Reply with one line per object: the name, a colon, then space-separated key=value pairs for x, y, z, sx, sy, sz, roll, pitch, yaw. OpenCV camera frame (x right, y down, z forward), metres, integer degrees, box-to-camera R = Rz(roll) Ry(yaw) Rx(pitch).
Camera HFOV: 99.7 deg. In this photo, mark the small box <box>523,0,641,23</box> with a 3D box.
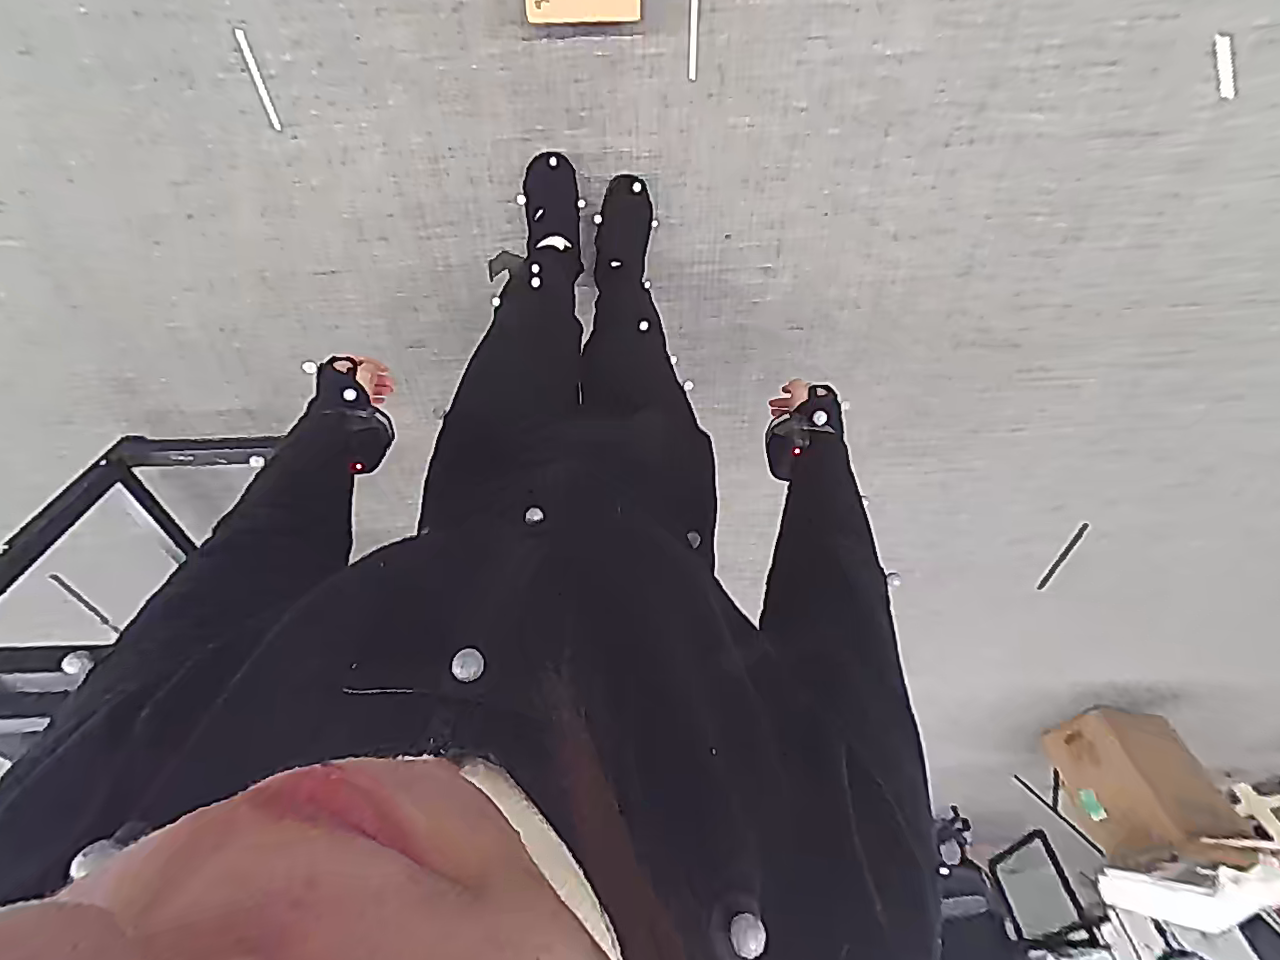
small box: x=-0.091 y=-0.807 z=0.820 sx=0.179 sy=0.176 sz=0.168 roll=-2 pitch=133 yaw=-2
